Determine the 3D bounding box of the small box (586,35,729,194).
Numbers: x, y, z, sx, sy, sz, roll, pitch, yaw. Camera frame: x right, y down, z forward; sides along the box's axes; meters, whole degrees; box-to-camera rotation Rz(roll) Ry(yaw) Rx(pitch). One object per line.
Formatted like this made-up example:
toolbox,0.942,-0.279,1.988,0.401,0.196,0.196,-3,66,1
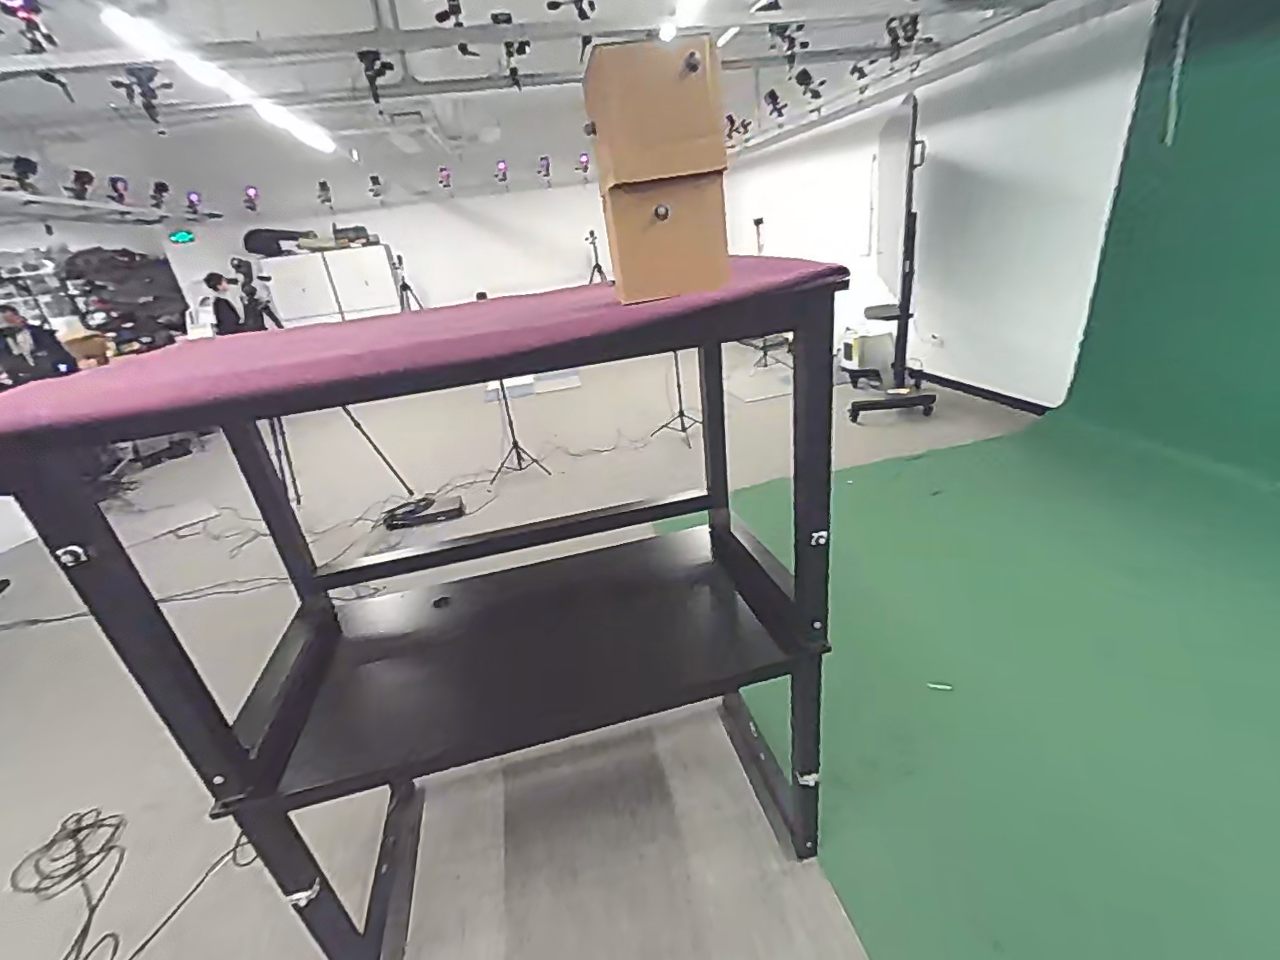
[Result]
small box,0.024,-0.532,0.818,0.179,0.176,0.168,-11,23,-7

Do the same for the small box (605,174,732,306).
small box,0.044,-0.390,0.896,0.179,0.176,0.168,-9,23,-3
